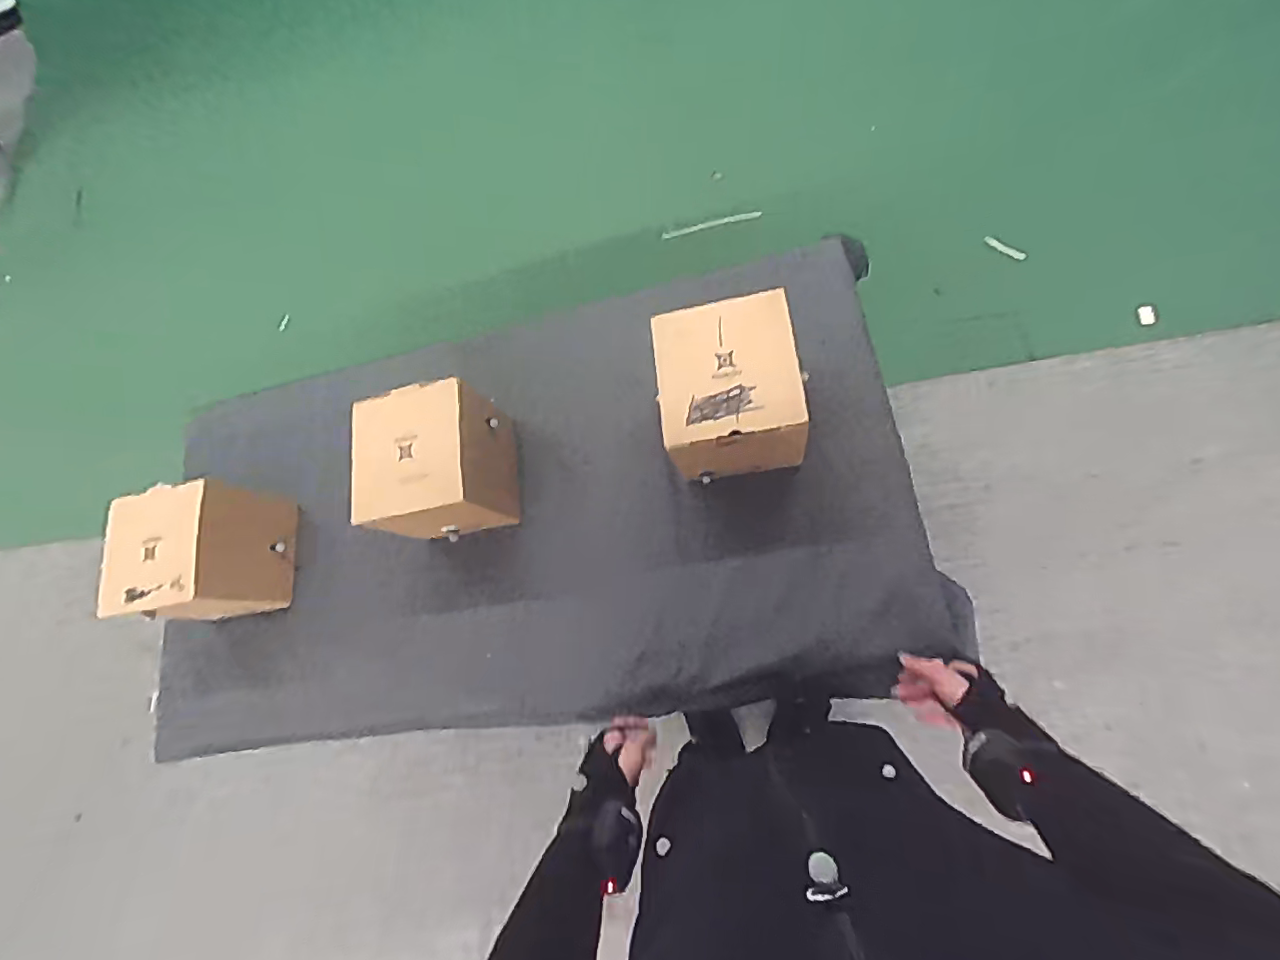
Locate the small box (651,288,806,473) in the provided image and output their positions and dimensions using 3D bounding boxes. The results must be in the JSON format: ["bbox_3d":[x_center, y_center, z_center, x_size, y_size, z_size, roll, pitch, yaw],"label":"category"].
[{"bbox_3d":[0.118,-0.114,0.707,0.168,0.176,0.179,-9,74,11],"label":"small box"}]

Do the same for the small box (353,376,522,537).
[{"bbox_3d":[-0.286,-0.023,0.784,0.168,0.176,0.179,-12,75,11],"label":"small box"}]

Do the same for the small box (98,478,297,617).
[{"bbox_3d":[-0.667,0.113,0.837,0.168,0.176,0.179,-11,73,10],"label":"small box"}]
